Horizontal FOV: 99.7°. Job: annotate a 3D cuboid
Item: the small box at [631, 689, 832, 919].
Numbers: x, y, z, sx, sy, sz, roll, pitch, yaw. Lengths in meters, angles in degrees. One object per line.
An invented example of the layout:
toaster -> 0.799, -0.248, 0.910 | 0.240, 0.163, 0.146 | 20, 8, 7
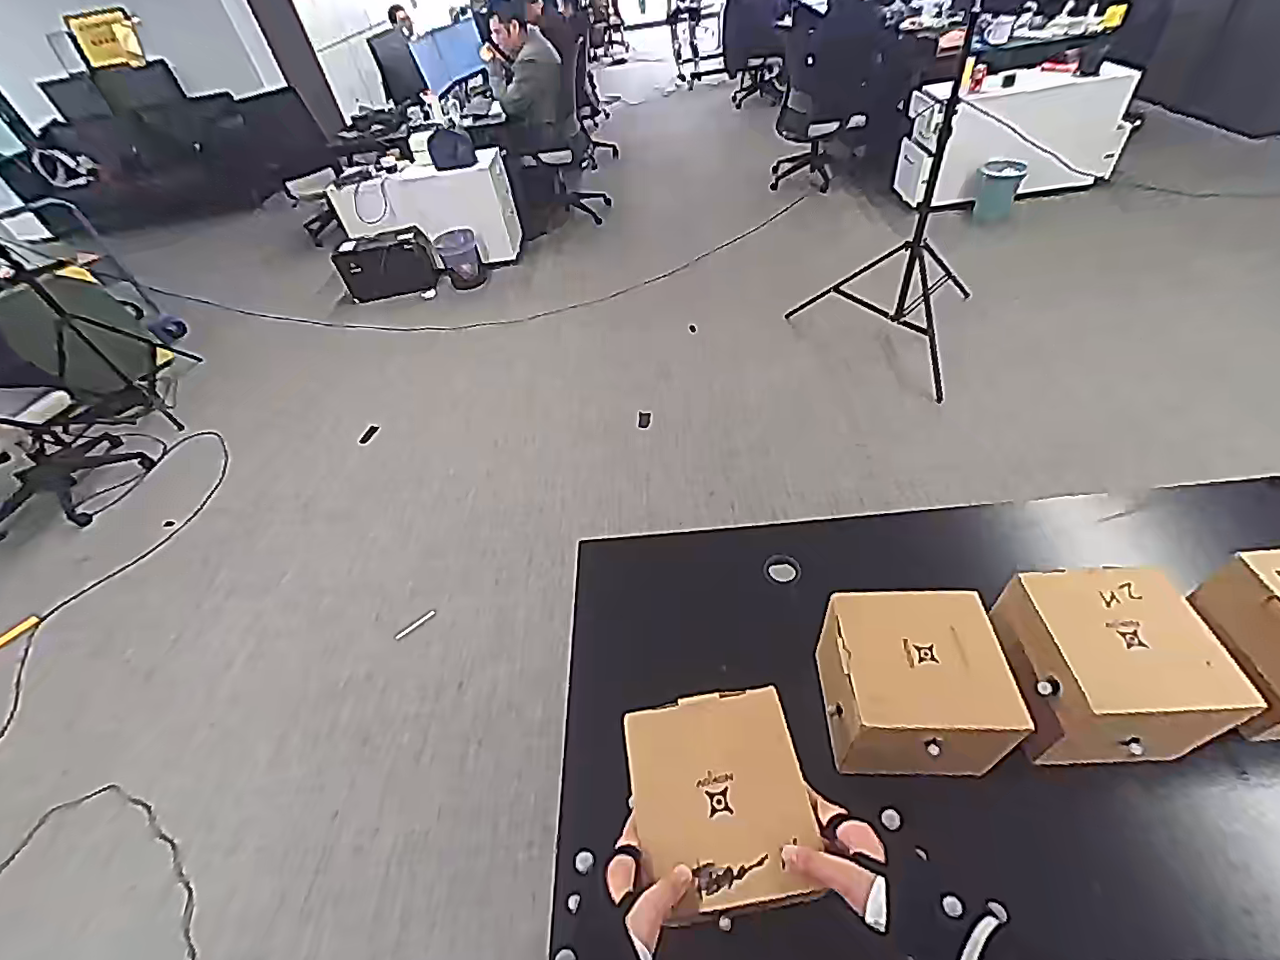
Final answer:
small box -> 0.089, 0.354, 0.588 | 0.168, 0.176, 0.179 | -11, 50, 1

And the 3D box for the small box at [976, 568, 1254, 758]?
small box -> 0.557, 0.233, 0.671 | 0.168, 0.176, 0.179 | -4, 45, 5

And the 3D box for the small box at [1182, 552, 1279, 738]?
small box -> 0.816, 0.201, 0.656 | 0.179, 0.176, 0.168 | -4, 46, 5
